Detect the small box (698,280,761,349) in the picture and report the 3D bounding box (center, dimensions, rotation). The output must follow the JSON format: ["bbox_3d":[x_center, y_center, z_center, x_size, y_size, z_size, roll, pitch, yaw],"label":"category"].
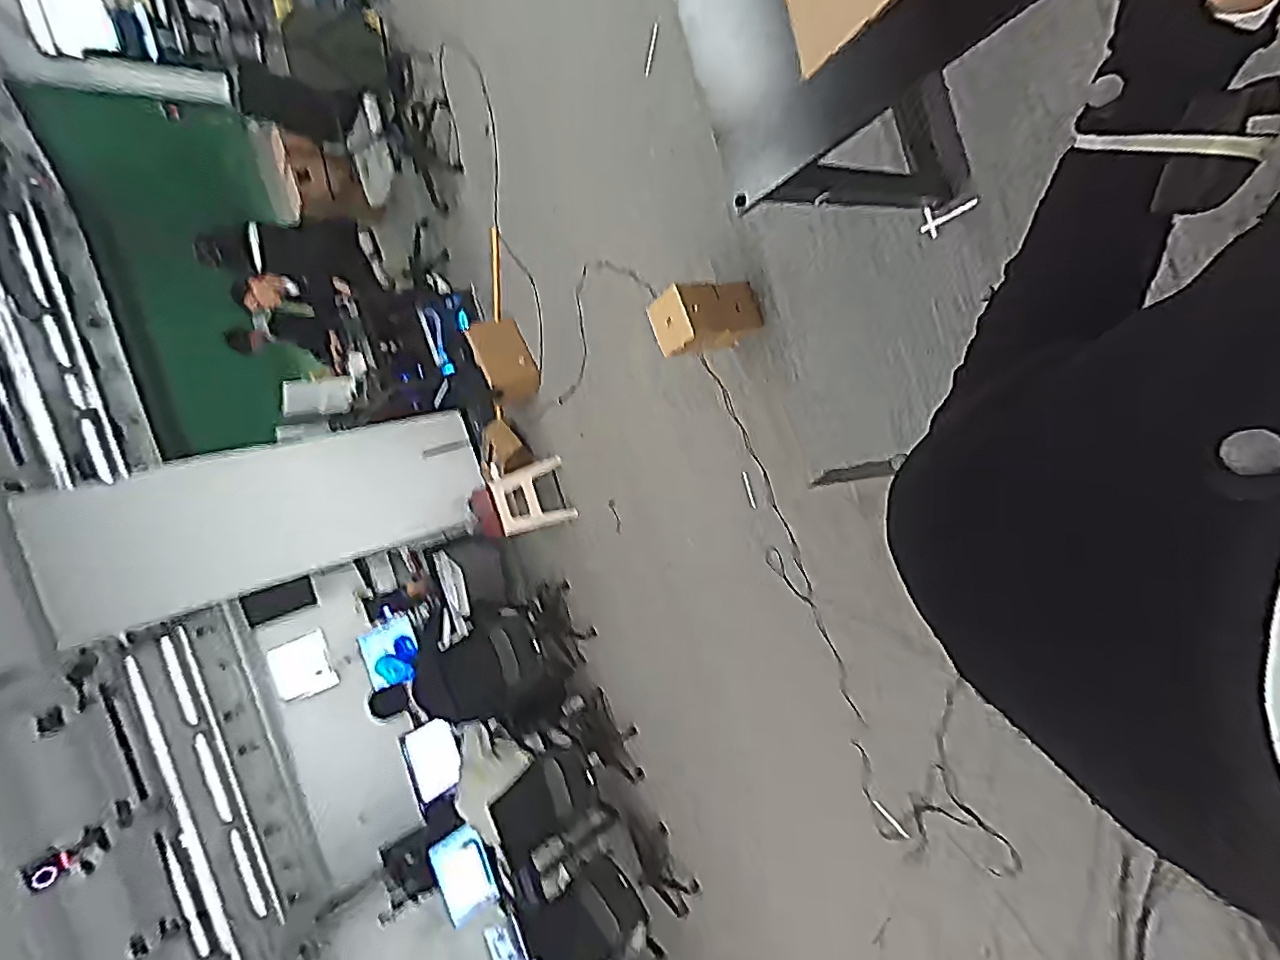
[{"bbox_3d":[0.285,-0.569,1.856,0.168,0.176,0.179,-19,91,55],"label":"small box"}]

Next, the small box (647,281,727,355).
[{"bbox_3d":[0.156,-0.531,1.764,0.168,0.176,0.179,-24,84,54],"label":"small box"}]
